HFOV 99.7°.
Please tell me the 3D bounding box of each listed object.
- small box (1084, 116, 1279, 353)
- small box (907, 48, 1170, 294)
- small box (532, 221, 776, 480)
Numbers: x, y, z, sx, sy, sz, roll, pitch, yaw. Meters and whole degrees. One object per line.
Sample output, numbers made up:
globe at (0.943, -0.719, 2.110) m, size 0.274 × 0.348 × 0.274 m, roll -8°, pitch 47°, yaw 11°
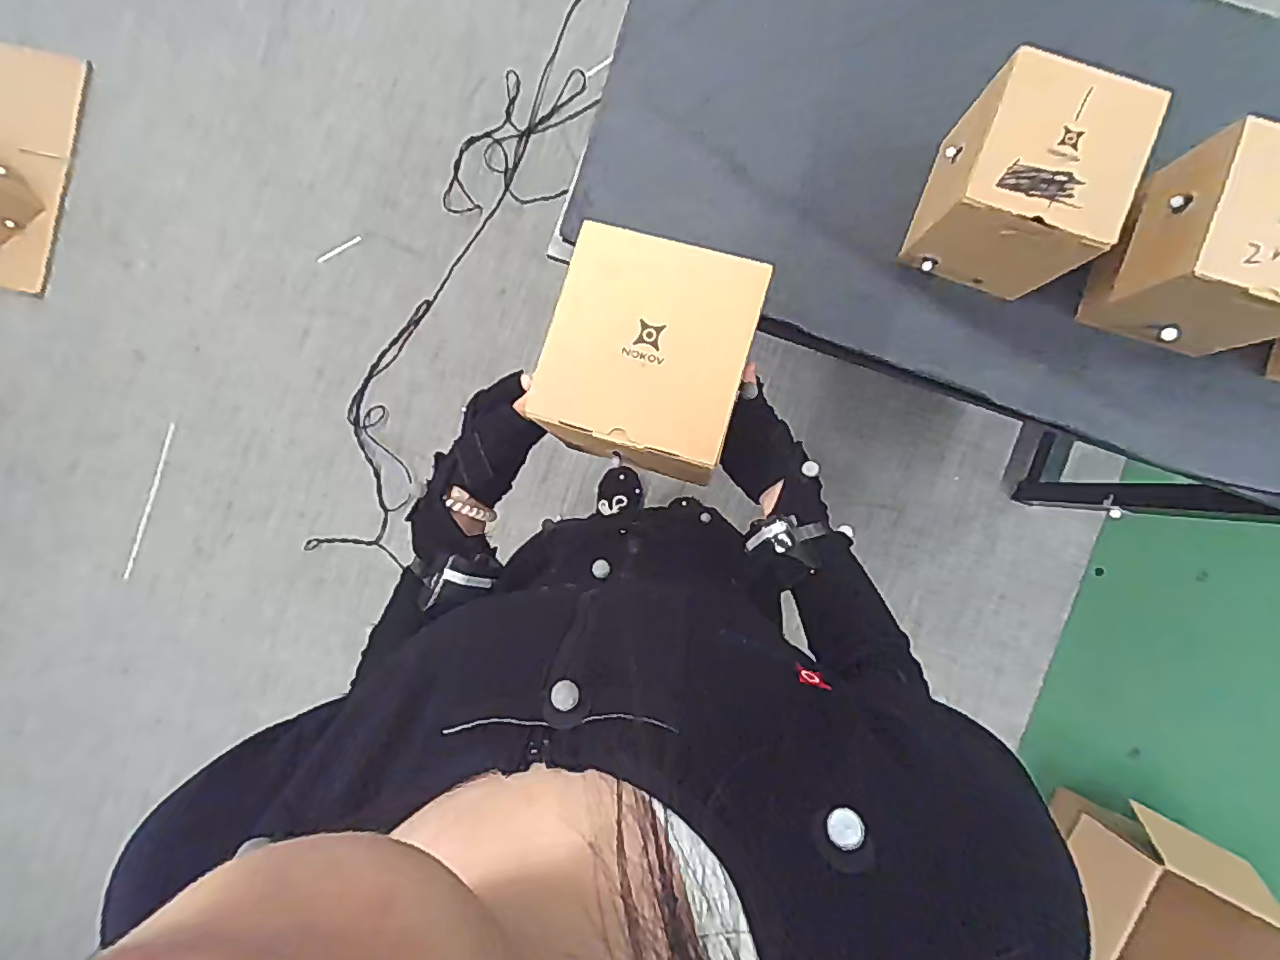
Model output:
small box at (0.682, -0.271, 0.637) m, size 0.168 × 0.176 × 0.179 m, roll 19°, pitch 91°, yaw 3°
small box at (0.453, -0.350, 0.650) m, size 0.168 × 0.176 × 0.179 m, roll 21°, pitch 90°, yaw 2°
small box at (0.015, -0.107, 0.520) m, size 0.168 × 0.176 × 0.179 m, roll 16°, pitch 87°, yaw 5°
